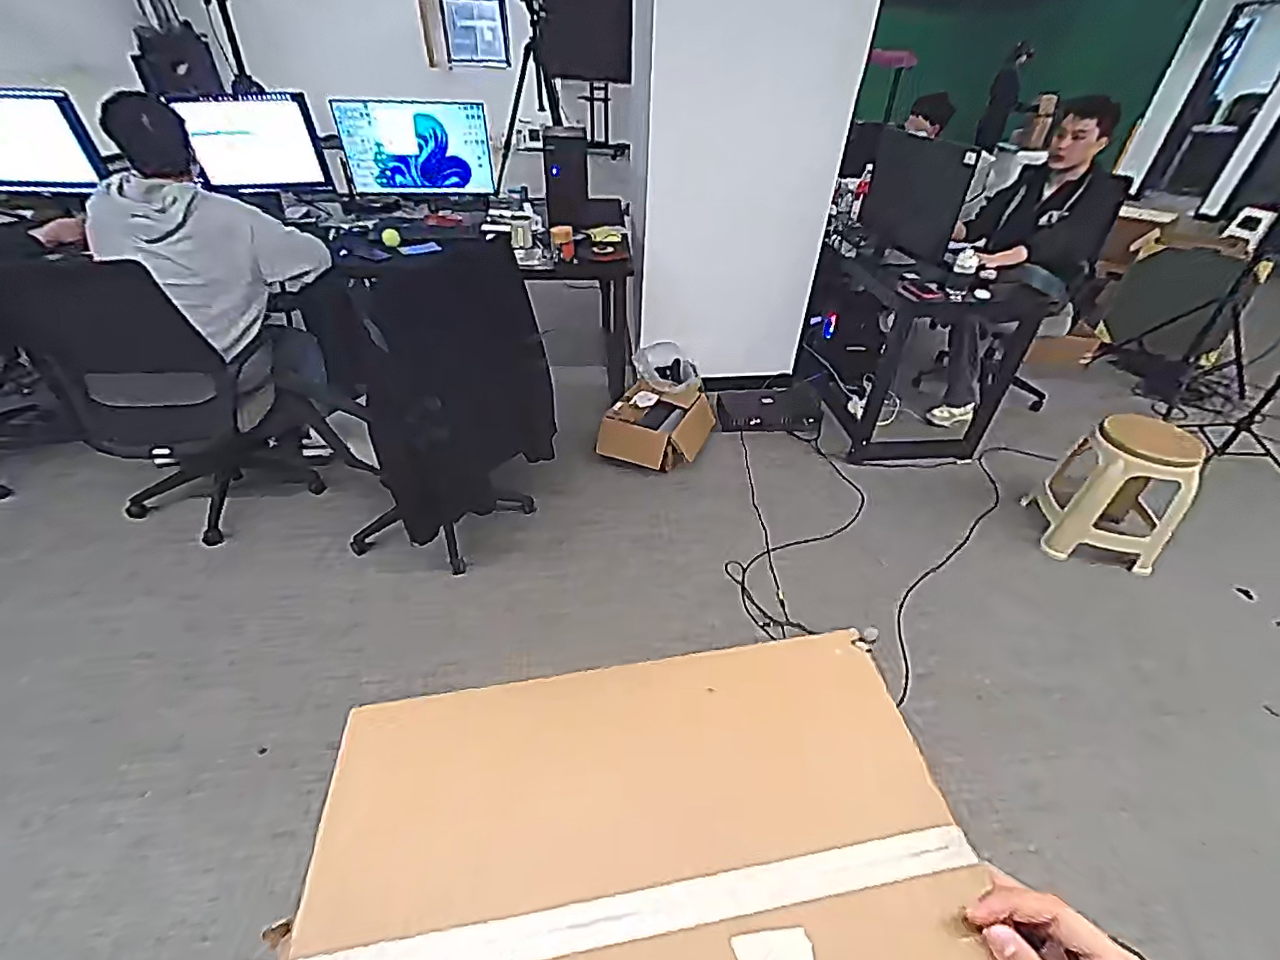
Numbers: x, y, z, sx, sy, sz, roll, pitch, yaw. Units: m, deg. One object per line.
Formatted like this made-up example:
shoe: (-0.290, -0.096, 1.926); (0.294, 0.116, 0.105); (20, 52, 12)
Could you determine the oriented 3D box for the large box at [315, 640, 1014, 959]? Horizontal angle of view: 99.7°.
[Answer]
large box: (0.010, 0.373, 0.423); (0.408, 0.320, 0.320); (-7, 44, -7)
